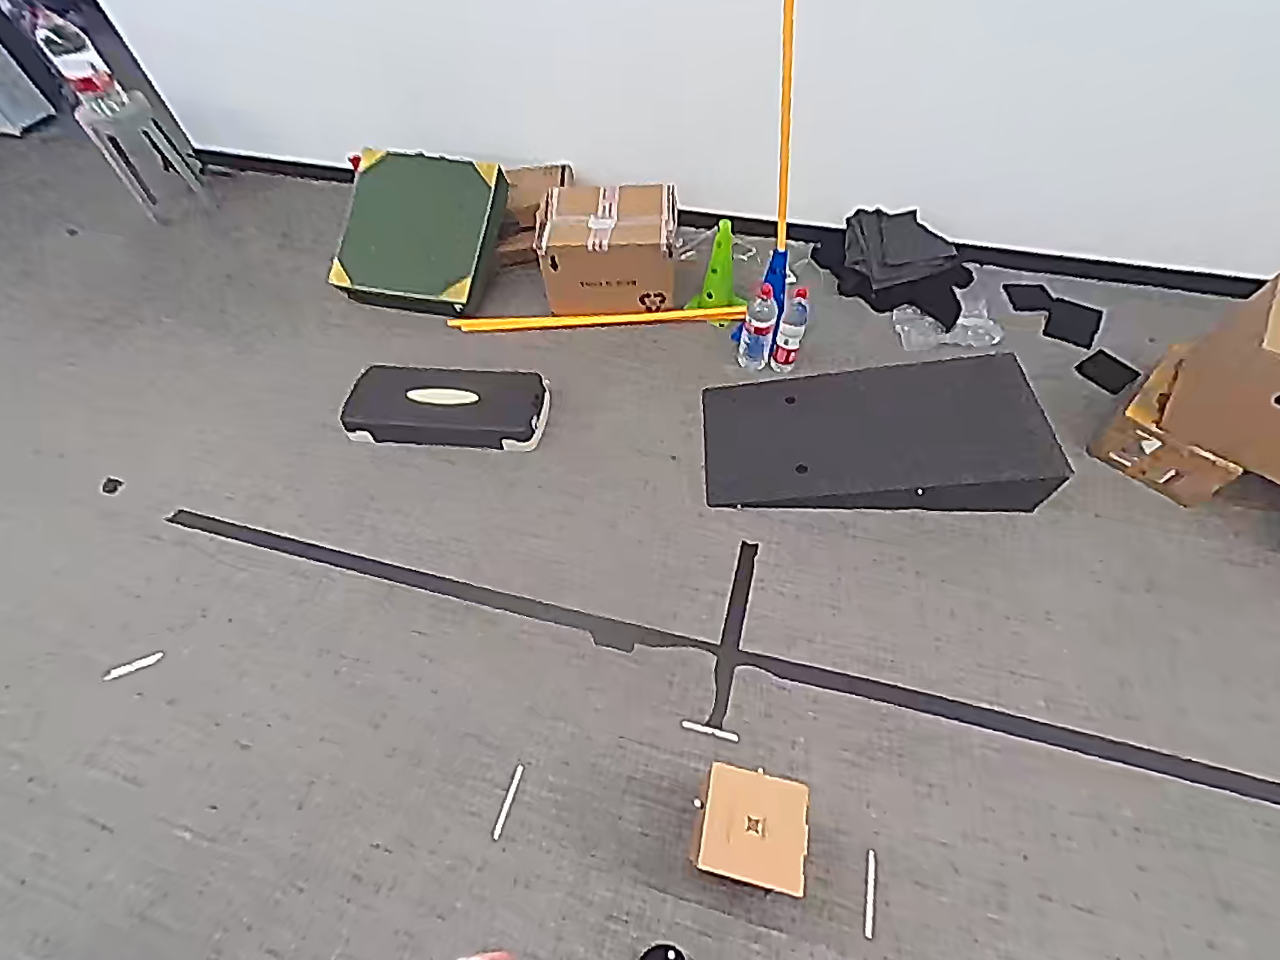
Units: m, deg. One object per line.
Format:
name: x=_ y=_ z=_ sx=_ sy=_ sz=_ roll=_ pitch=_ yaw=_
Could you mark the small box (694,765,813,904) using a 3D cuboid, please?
small box: x=0.201 y=0.638 z=0.982 sx=0.179 sy=0.176 sz=0.168 roll=11 pitch=57 yaw=10
